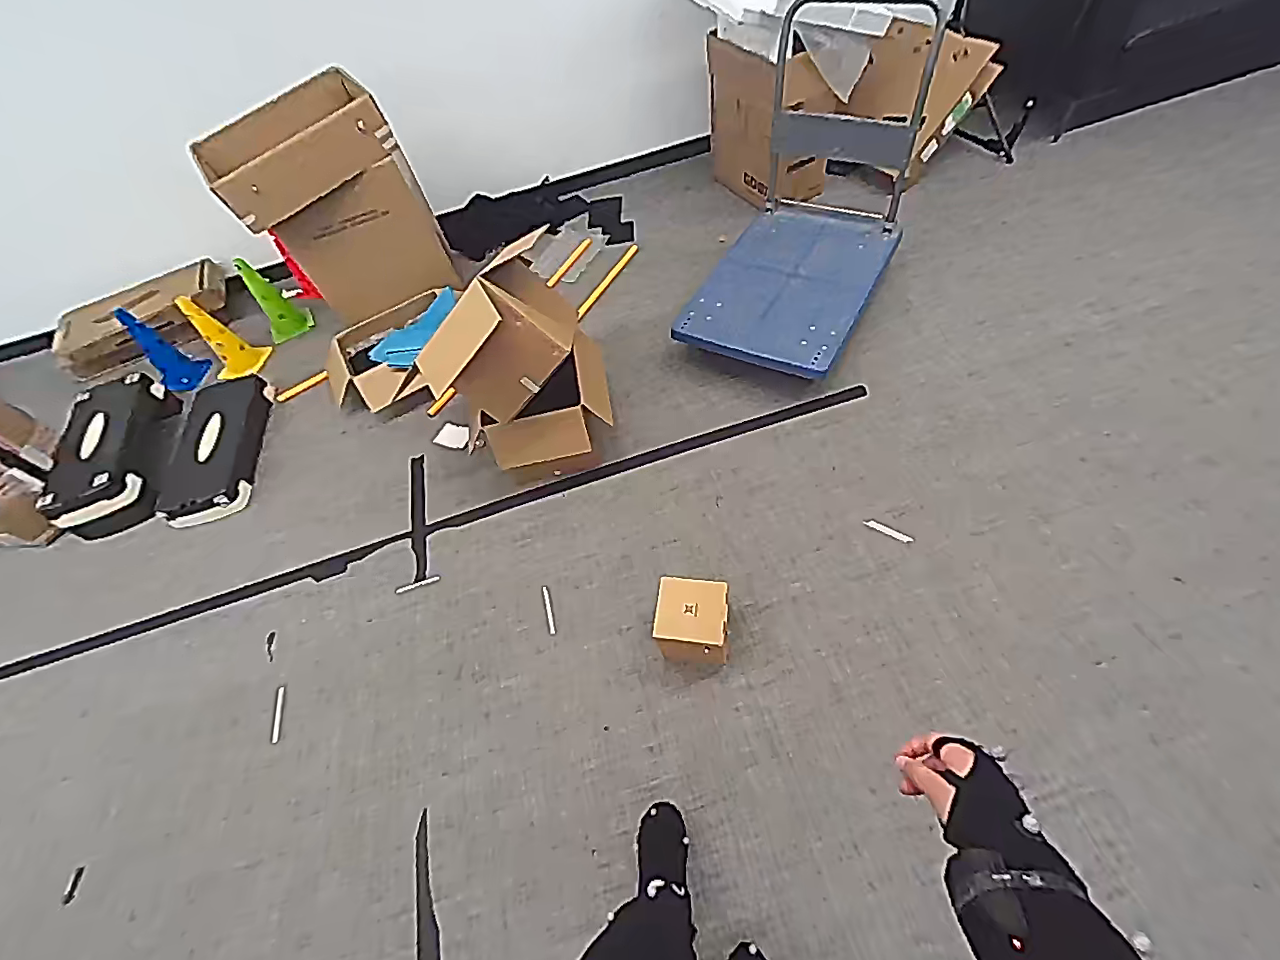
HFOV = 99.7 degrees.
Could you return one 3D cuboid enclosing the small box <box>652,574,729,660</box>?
[{"bbox_3d":[0.139,0.363,1.420,0.179,0.176,0.168,3,56,12],"label":"small box"}]
